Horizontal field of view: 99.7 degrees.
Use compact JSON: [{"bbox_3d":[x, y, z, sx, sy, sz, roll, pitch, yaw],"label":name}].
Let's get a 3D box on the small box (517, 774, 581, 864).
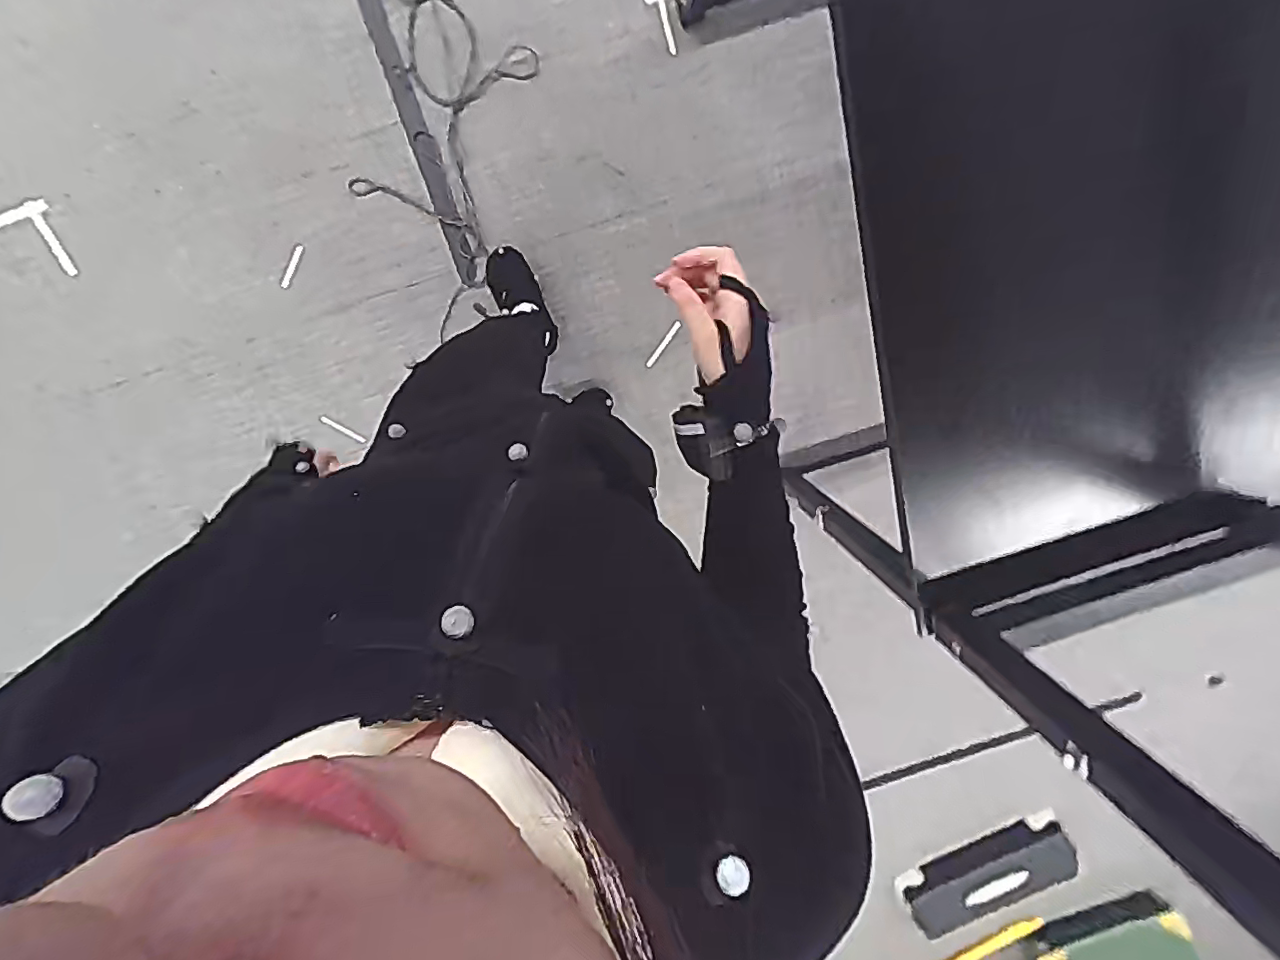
[{"bbox_3d":[-0.286,1.077,1.737,0.168,0.176,0.179,-12,109,-1],"label":"small box"}]
